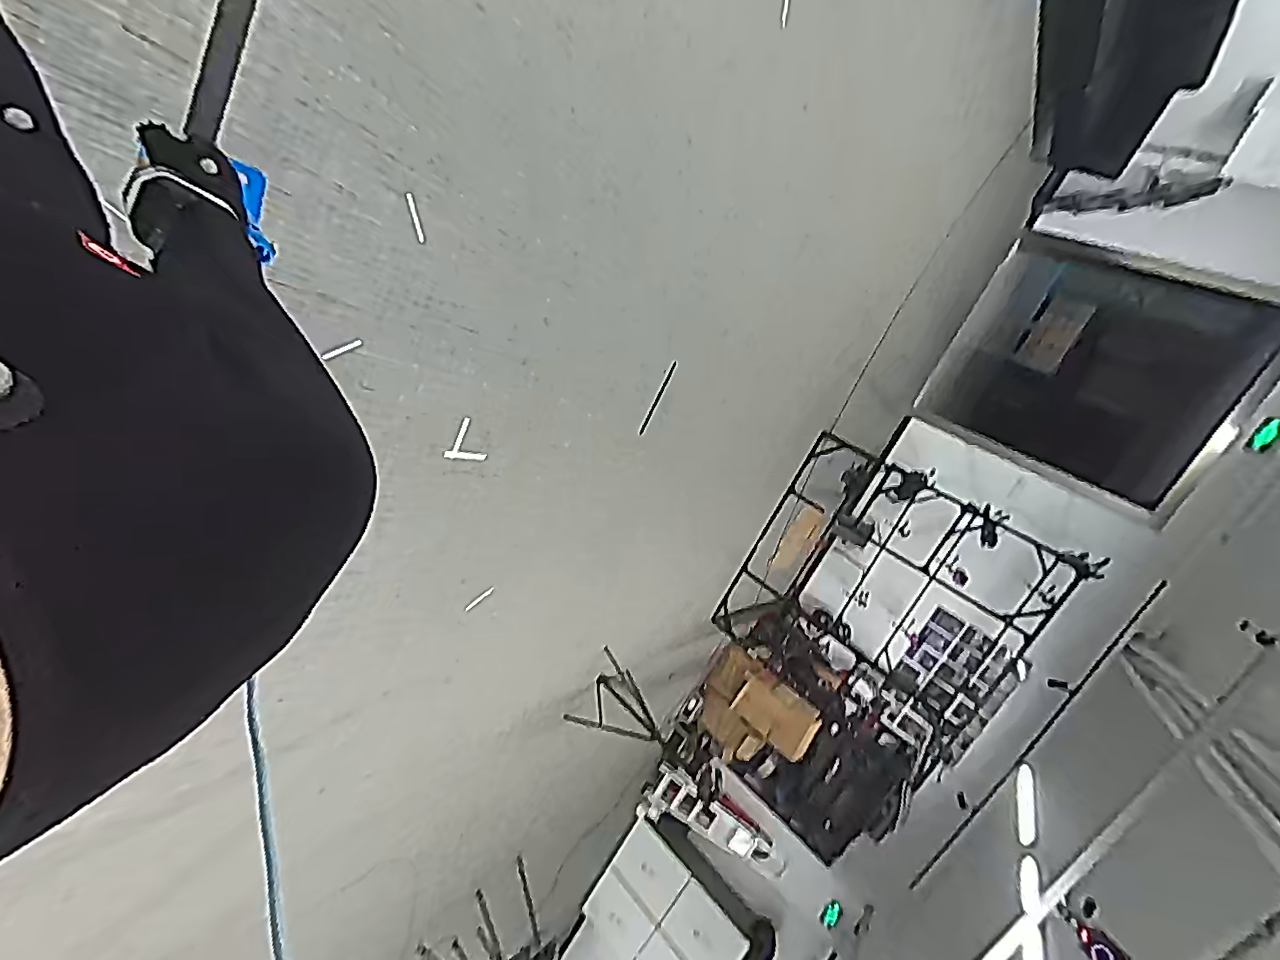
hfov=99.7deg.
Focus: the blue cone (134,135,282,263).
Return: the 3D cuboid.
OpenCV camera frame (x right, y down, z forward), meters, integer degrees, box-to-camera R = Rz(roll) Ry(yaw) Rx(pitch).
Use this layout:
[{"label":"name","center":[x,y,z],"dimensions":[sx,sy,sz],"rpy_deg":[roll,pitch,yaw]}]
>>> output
[{"label":"blue cone","center":[-0.775,-0.484,1.013],"dimensions":[0.192,0.380,0.193],"rpy_deg":[1,120,-56]}]
